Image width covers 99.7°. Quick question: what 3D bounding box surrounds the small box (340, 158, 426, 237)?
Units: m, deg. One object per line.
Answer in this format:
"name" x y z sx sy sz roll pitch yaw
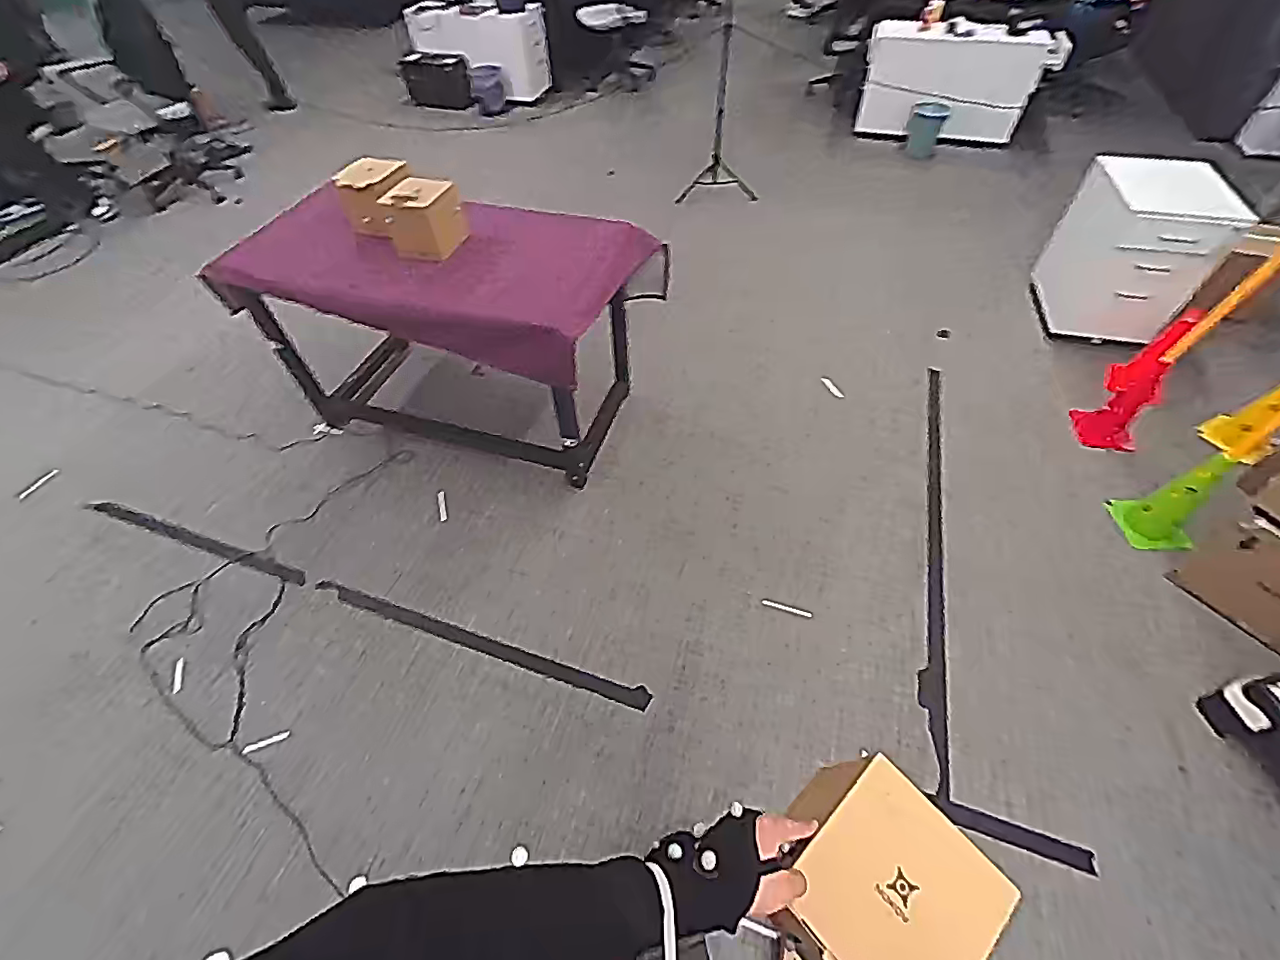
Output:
"small box" -0.832 -0.928 1.778 0.168 0.176 0.179 12 53 12

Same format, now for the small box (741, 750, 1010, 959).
"small box" 0.232 0.424 0.576 0.179 0.176 0.168 -37 68 -24
